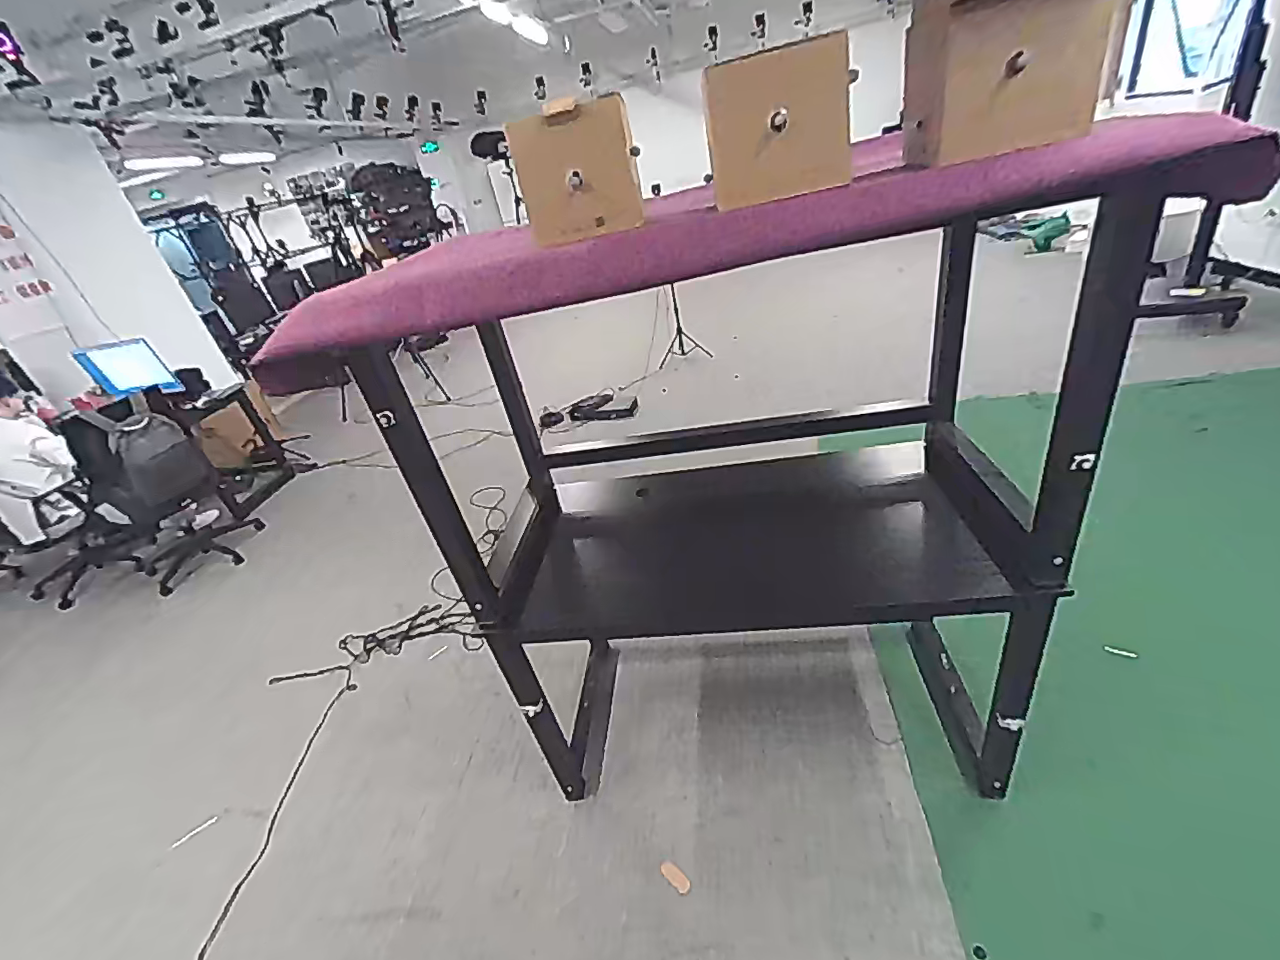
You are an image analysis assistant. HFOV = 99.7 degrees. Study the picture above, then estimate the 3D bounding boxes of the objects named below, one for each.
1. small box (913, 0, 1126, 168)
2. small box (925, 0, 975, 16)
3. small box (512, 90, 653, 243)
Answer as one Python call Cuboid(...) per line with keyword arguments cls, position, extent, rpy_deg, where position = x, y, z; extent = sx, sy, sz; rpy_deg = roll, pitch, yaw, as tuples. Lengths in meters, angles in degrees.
Cuboid(cls="small box", position=(0.468, -0.520, 0.695), extent=(0.179, 0.176, 0.168), rpy_deg=(-7, 31, 13))
Cuboid(cls="small box", position=(0.433, -0.646, 0.594), extent=(0.179, 0.176, 0.168), rpy_deg=(-7, 31, 12))
Cuboid(cls="small box", position=(-0.076, -0.475, 0.834), extent=(0.168, 0.176, 0.179), rpy_deg=(-8, 30, 8))
